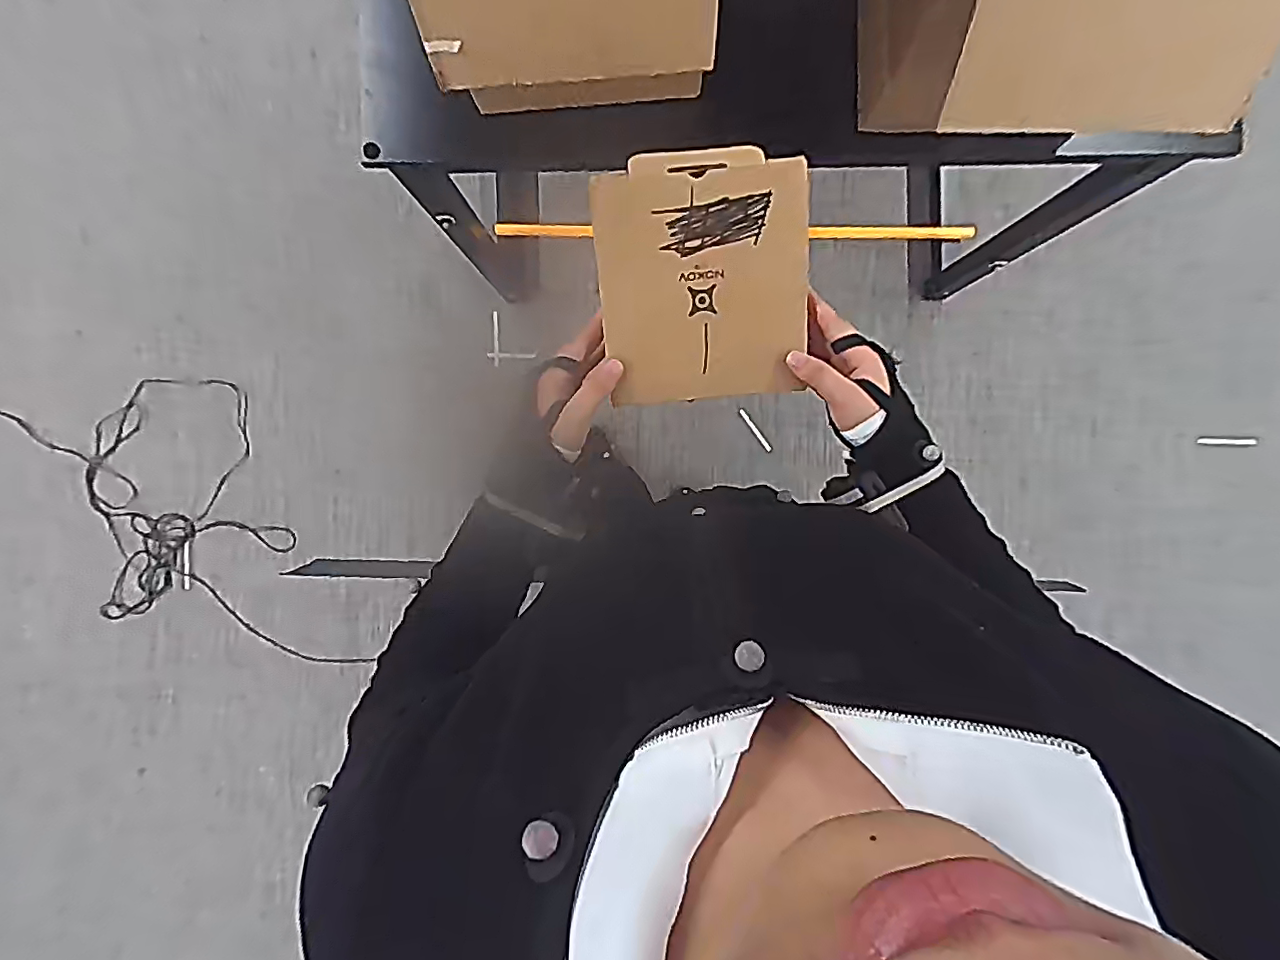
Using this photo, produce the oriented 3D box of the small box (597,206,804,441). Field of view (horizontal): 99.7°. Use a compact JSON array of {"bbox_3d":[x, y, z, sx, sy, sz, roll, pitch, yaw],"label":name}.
[{"bbox_3d":[0.050,-0.144,0.517,0.168,0.176,0.179,-5,107,1],"label":"small box"}]
